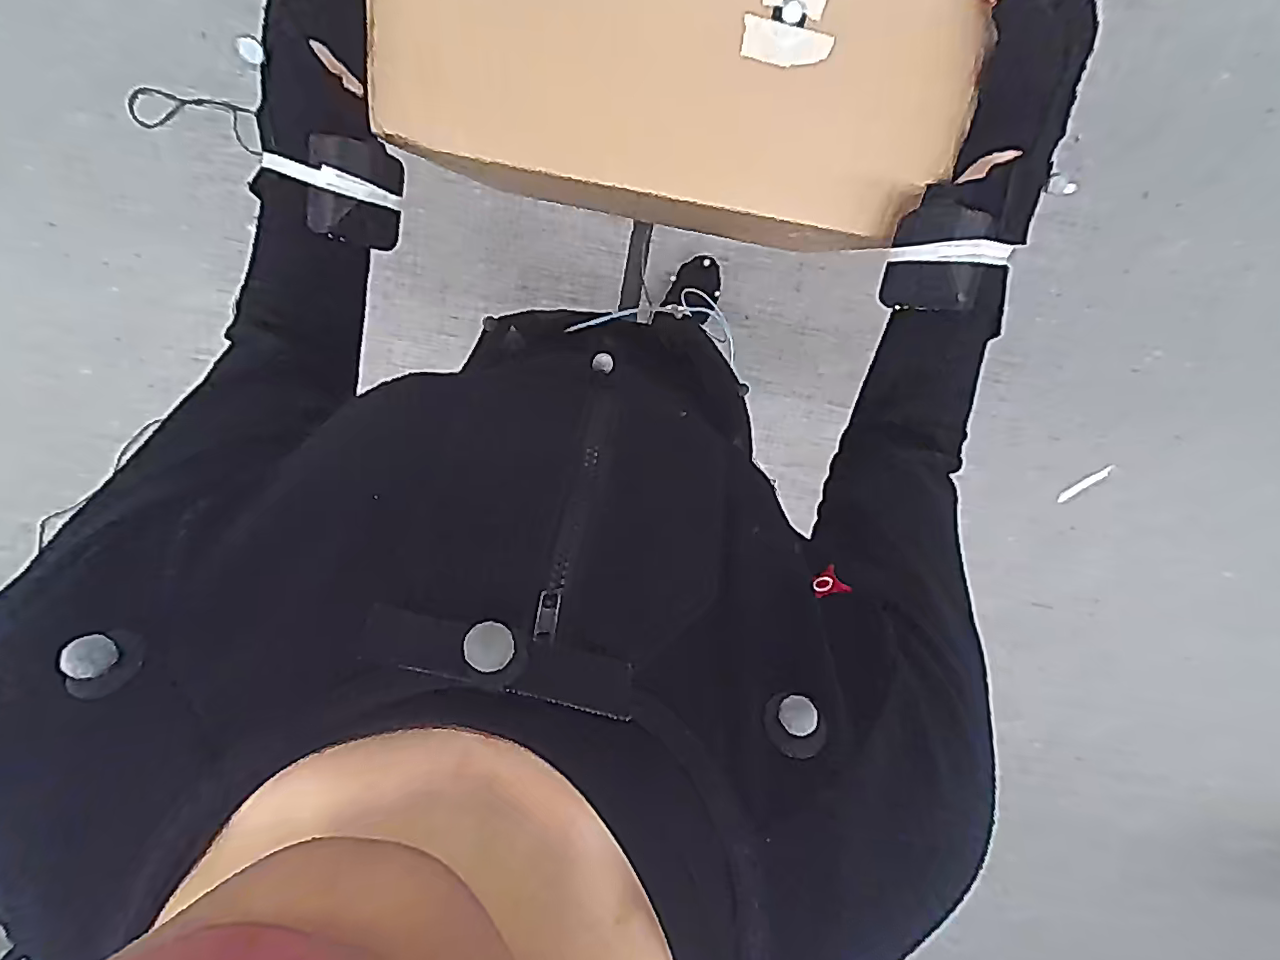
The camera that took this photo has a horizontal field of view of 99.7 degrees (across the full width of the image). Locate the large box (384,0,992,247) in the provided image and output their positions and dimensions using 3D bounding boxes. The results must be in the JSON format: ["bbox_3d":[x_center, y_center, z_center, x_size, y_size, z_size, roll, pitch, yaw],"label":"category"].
[{"bbox_3d":[0.036,-0.406,0.479,0.408,0.320,0.320,9,113,-4],"label":"large box"}]
